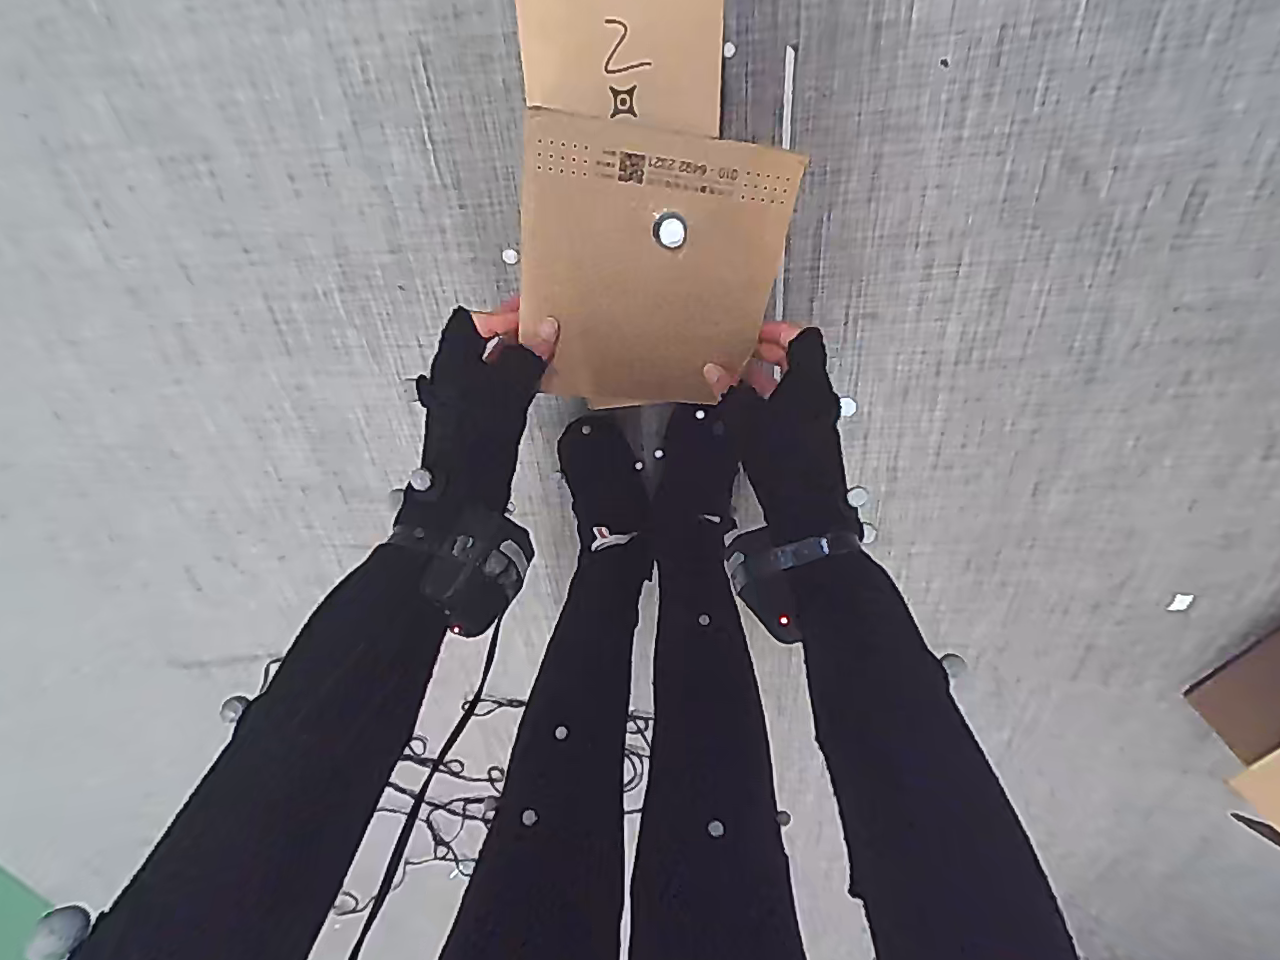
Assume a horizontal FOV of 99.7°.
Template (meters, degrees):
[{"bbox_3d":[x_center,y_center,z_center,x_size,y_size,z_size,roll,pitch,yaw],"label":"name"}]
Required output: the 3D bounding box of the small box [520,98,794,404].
[{"bbox_3d":[-0.002,-0.176,0.414,0.168,0.179,0.176,2,123,-11],"label":"small box"}]
